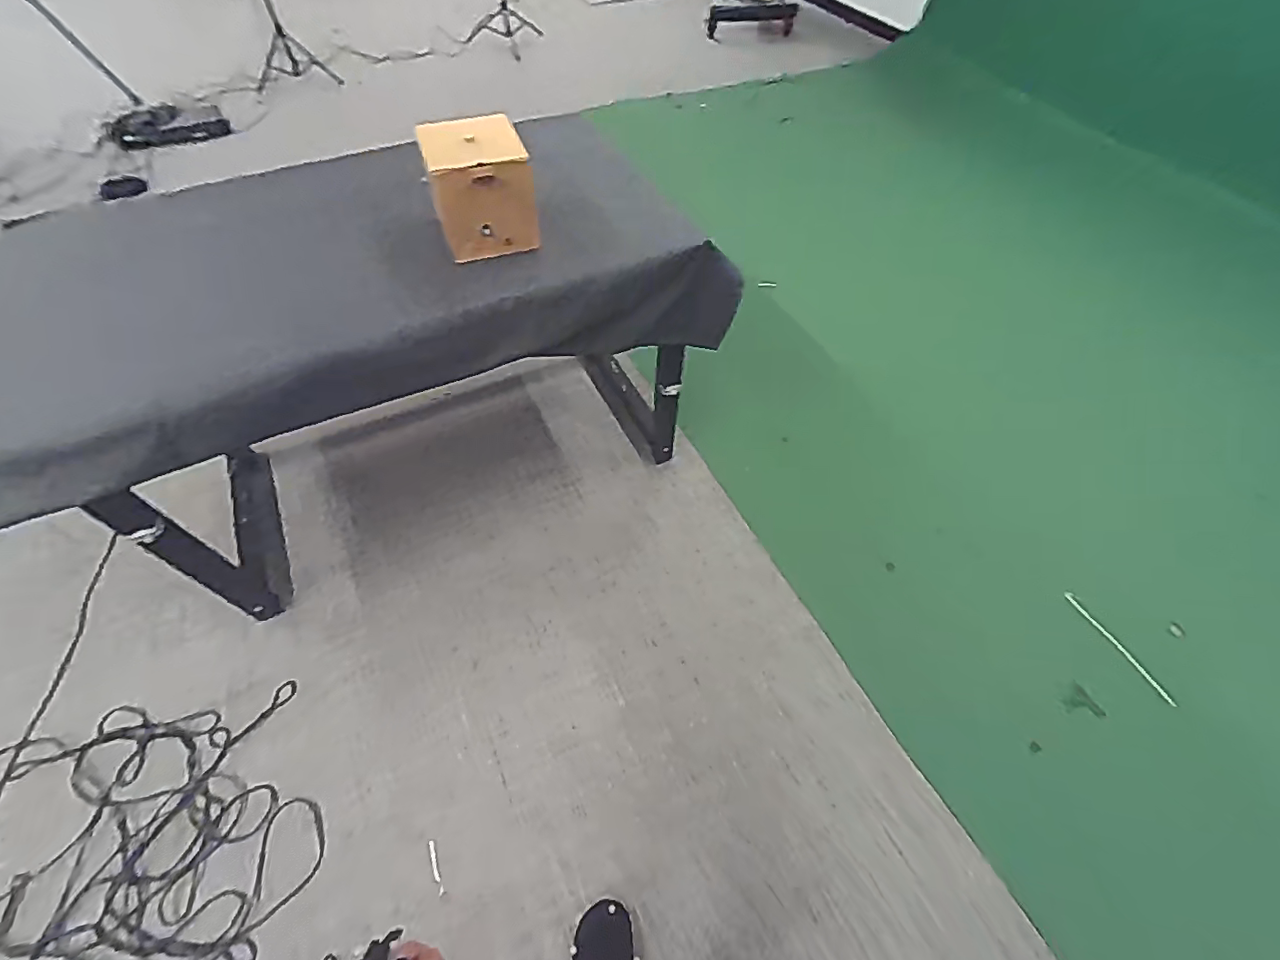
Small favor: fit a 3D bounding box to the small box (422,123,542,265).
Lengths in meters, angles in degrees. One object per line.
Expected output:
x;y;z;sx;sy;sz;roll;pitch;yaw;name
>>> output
-0.288;-0.529;1.002;0.168;0.176;0.179;-17;57;-14;small box
